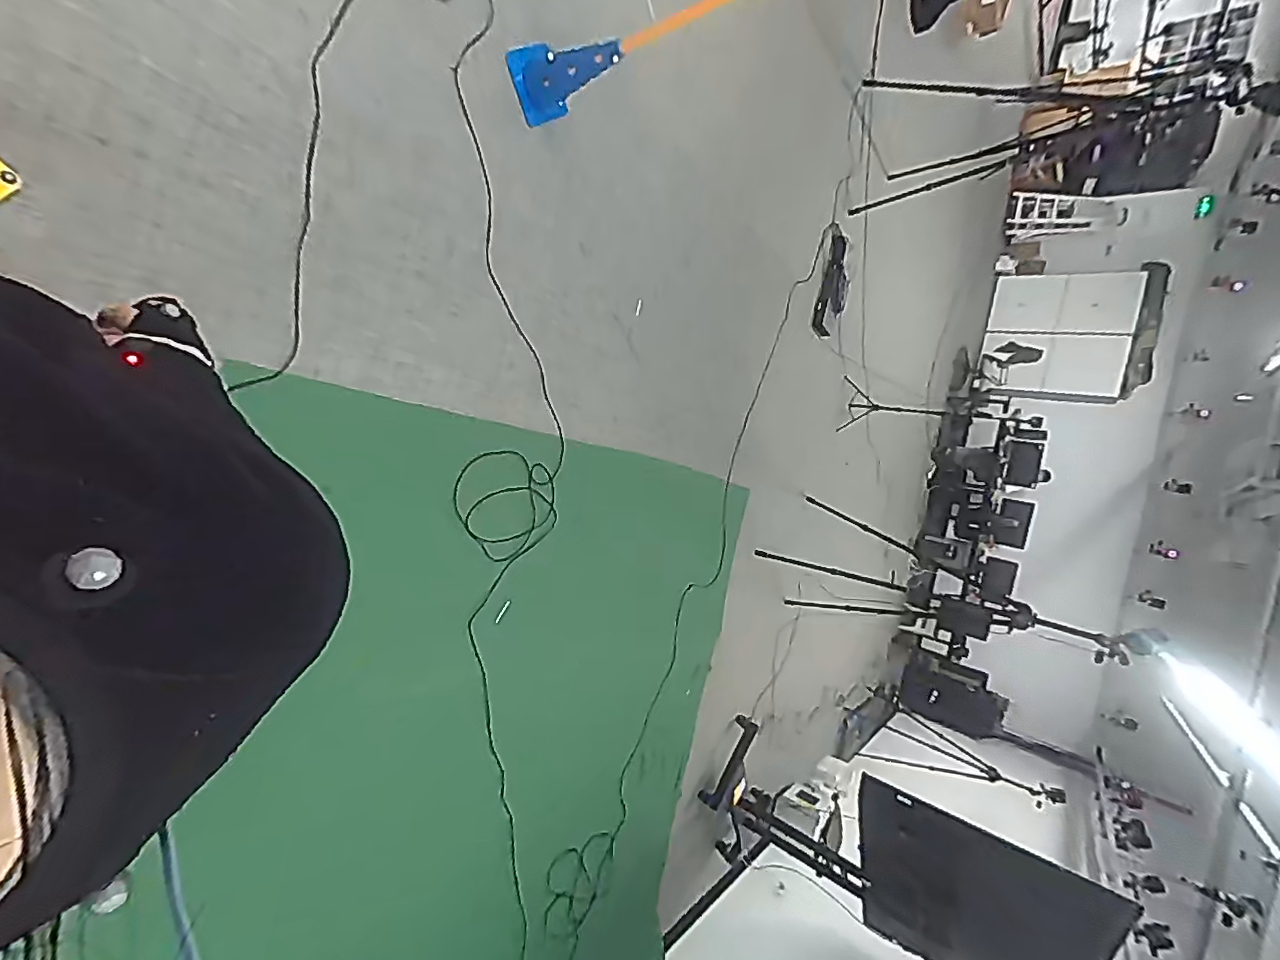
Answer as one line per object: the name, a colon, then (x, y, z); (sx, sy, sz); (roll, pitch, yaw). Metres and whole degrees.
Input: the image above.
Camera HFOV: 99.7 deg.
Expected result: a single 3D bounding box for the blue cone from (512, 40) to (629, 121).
blue cone: (-0.189, -1.247, 1.619); (0.193, 0.380, 0.192); (-50, 134, -34)
